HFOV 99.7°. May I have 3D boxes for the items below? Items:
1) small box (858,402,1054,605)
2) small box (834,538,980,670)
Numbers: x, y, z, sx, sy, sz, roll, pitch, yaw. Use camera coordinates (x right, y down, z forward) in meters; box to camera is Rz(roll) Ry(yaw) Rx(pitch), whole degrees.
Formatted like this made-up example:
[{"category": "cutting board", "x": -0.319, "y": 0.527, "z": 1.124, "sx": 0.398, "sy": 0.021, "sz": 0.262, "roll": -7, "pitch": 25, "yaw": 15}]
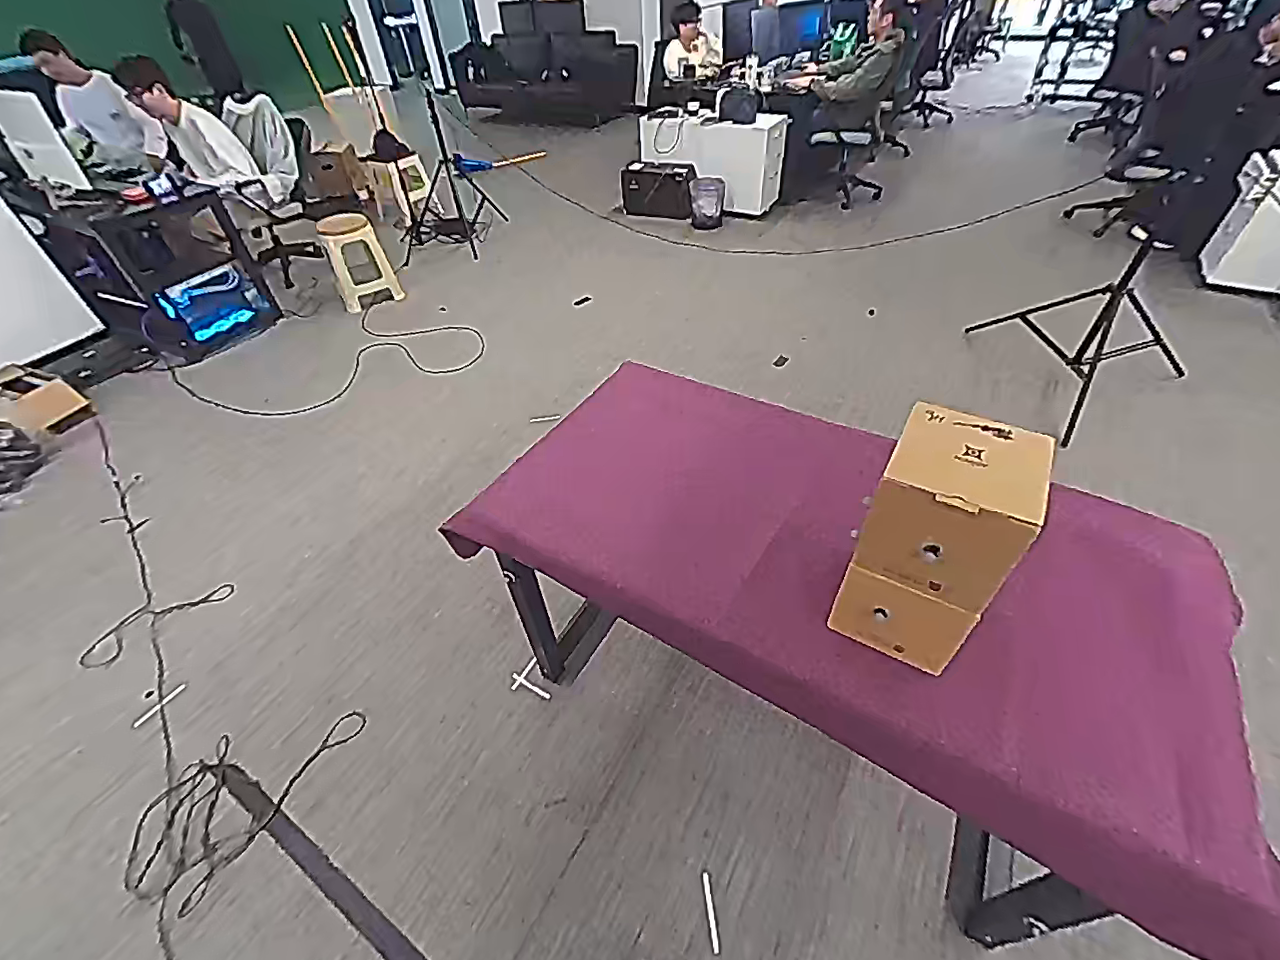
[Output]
[{"category": "small box", "x": 0.402, "y": 0.031, "z": 0.707, "sx": 0.168, "sy": 0.176, "sz": 0.179, "roll": 22, "pitch": 50, "yaw": 25}, {"category": "small box", "x": 0.407, "y": 0.151, "z": 0.818, "sx": 0.168, "sy": 0.176, "sz": 0.179, "roll": 21, "pitch": 49, "yaw": 24}]
